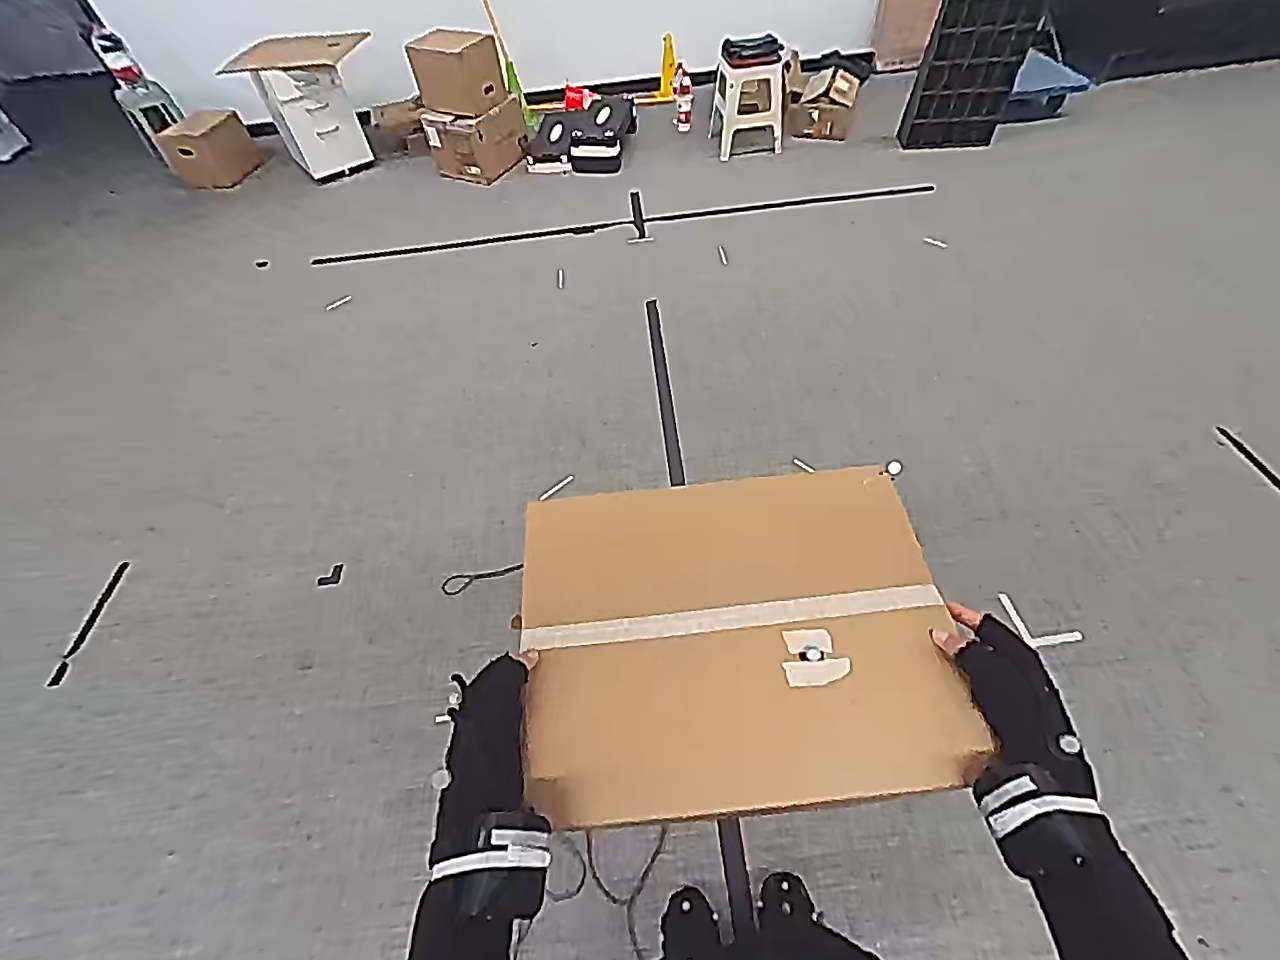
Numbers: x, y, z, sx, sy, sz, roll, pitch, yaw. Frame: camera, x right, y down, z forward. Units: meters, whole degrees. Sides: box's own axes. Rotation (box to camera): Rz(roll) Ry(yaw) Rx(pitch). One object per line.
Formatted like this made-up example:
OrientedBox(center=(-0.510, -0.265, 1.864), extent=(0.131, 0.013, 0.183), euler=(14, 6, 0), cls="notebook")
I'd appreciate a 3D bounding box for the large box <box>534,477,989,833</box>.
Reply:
OrientedBox(center=(0.098, 0.228, 0.666), extent=(0.408, 0.320, 0.320), euler=(-6, 57, 0), cls="large box")
